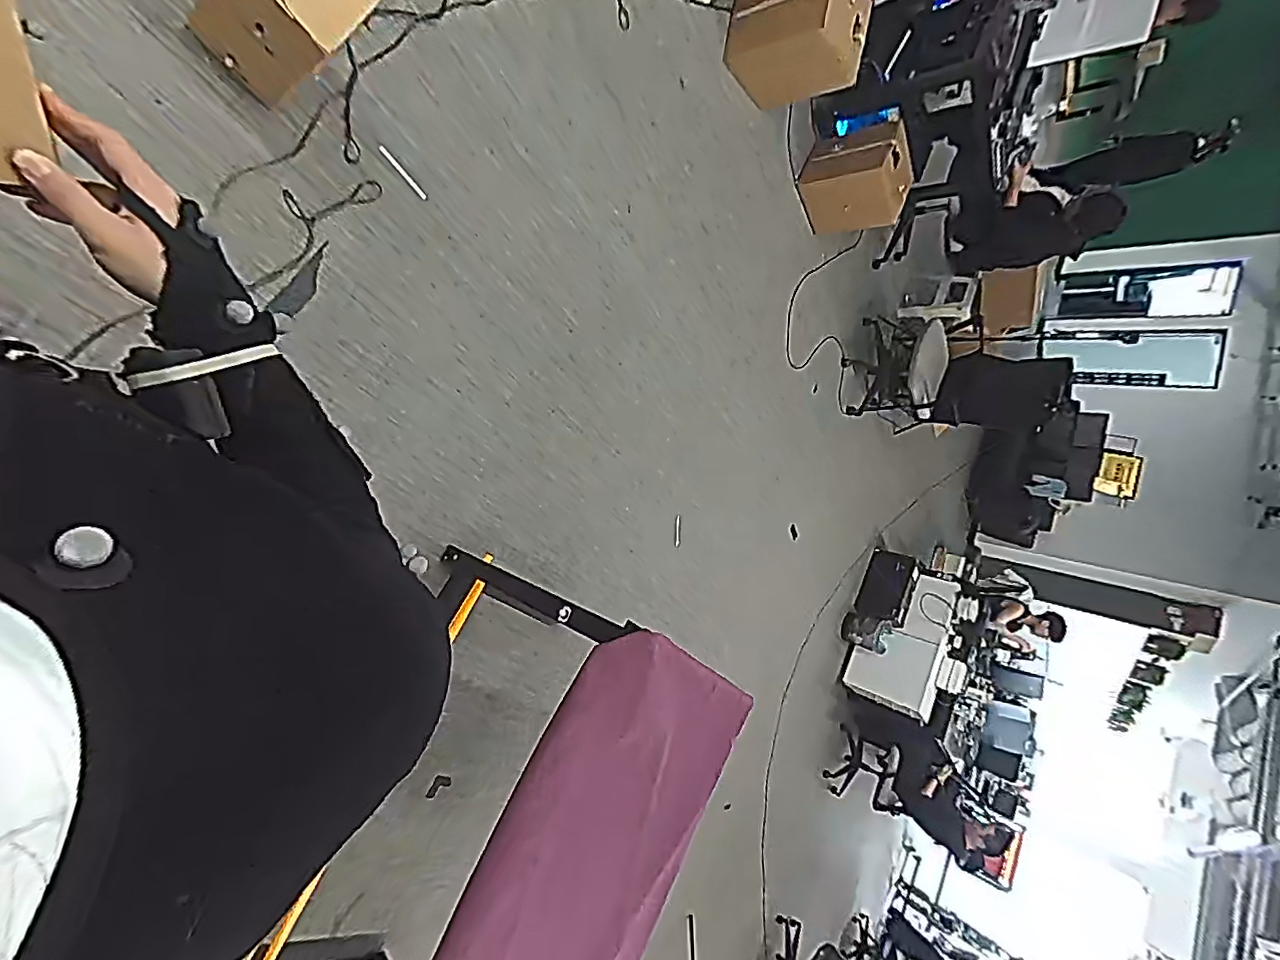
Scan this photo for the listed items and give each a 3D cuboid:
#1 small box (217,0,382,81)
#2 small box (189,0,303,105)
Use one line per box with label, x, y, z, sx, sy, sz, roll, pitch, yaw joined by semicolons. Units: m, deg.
small box;-0.573;-0.823;0.904;0.168;0.176;0.179;44;68;-44
small box;-0.695;-0.852;1.011;0.168;0.176;0.179;46;67;-44
